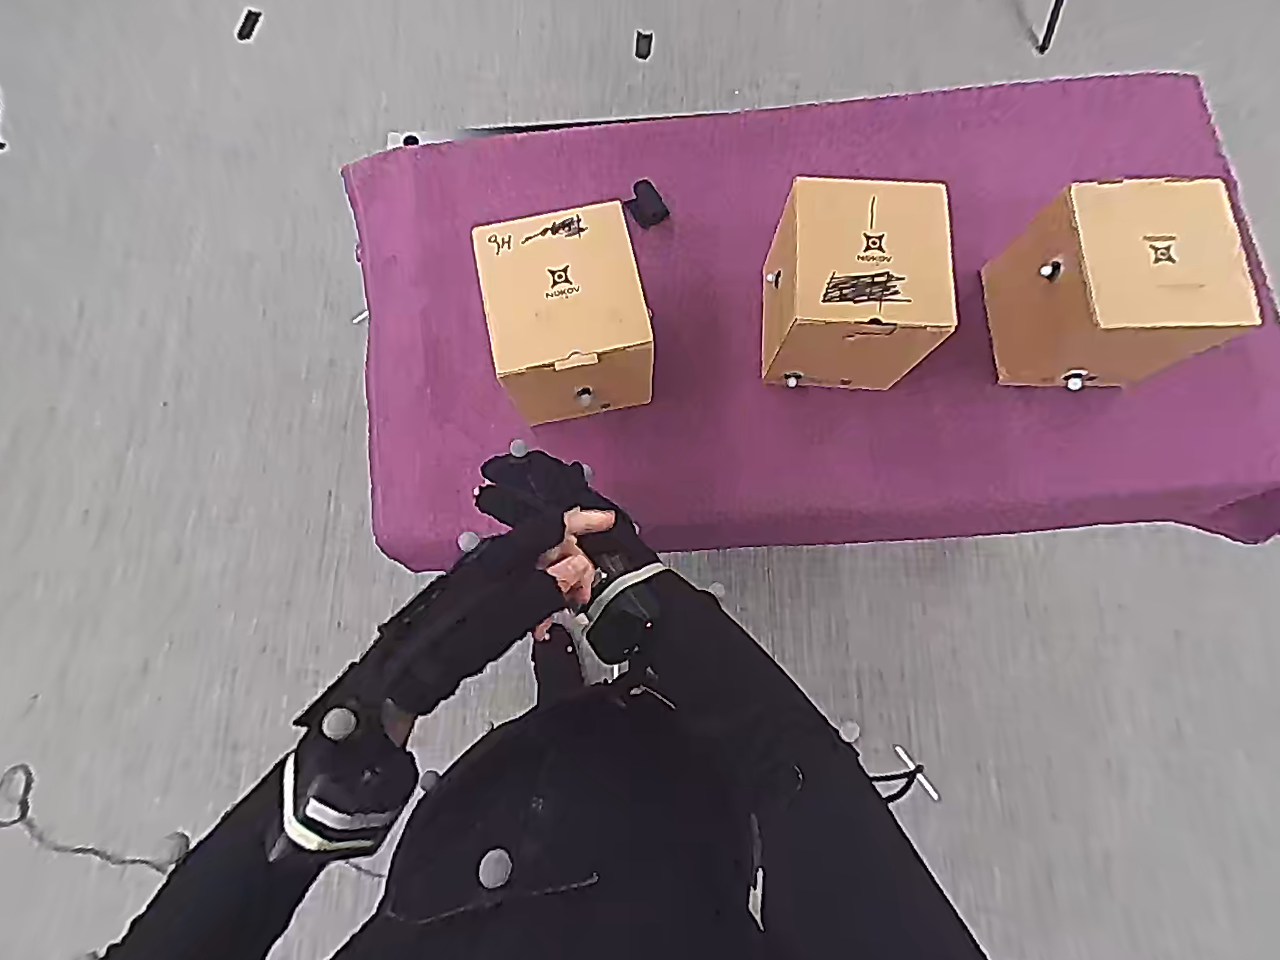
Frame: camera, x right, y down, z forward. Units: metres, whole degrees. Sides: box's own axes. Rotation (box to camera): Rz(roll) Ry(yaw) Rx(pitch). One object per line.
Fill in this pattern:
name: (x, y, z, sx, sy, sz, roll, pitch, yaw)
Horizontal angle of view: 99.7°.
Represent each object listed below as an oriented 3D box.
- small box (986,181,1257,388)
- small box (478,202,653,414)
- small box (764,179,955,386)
small box: (0.552, -0.224, 0.651, 0.168, 0.176, 0.179, -1, 78, 2)
small box: (-0.079, -0.189, 0.647, 0.168, 0.176, 0.179, -11, 78, -3)
small box: (0.250, -0.226, 0.653, 0.168, 0.176, 0.179, 3, 76, 1)
